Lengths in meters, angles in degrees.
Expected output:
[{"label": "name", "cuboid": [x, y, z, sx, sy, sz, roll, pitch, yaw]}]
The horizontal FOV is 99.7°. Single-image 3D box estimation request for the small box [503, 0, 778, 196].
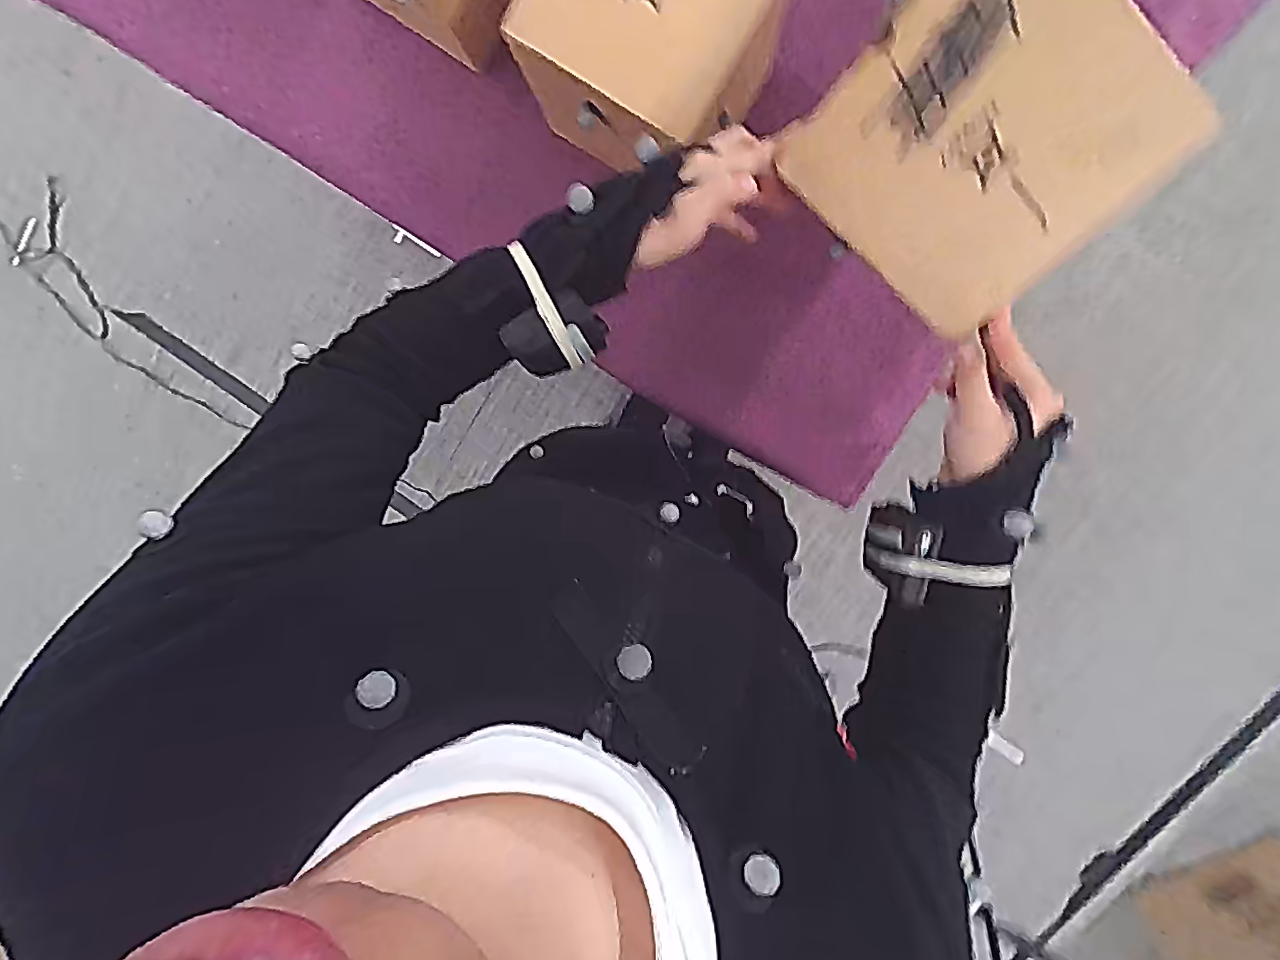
[{"label": "small box", "cuboid": [0.012, -0.392, 0.493, 0.179, 0.176, 0.168, 32, 101, 0]}]
